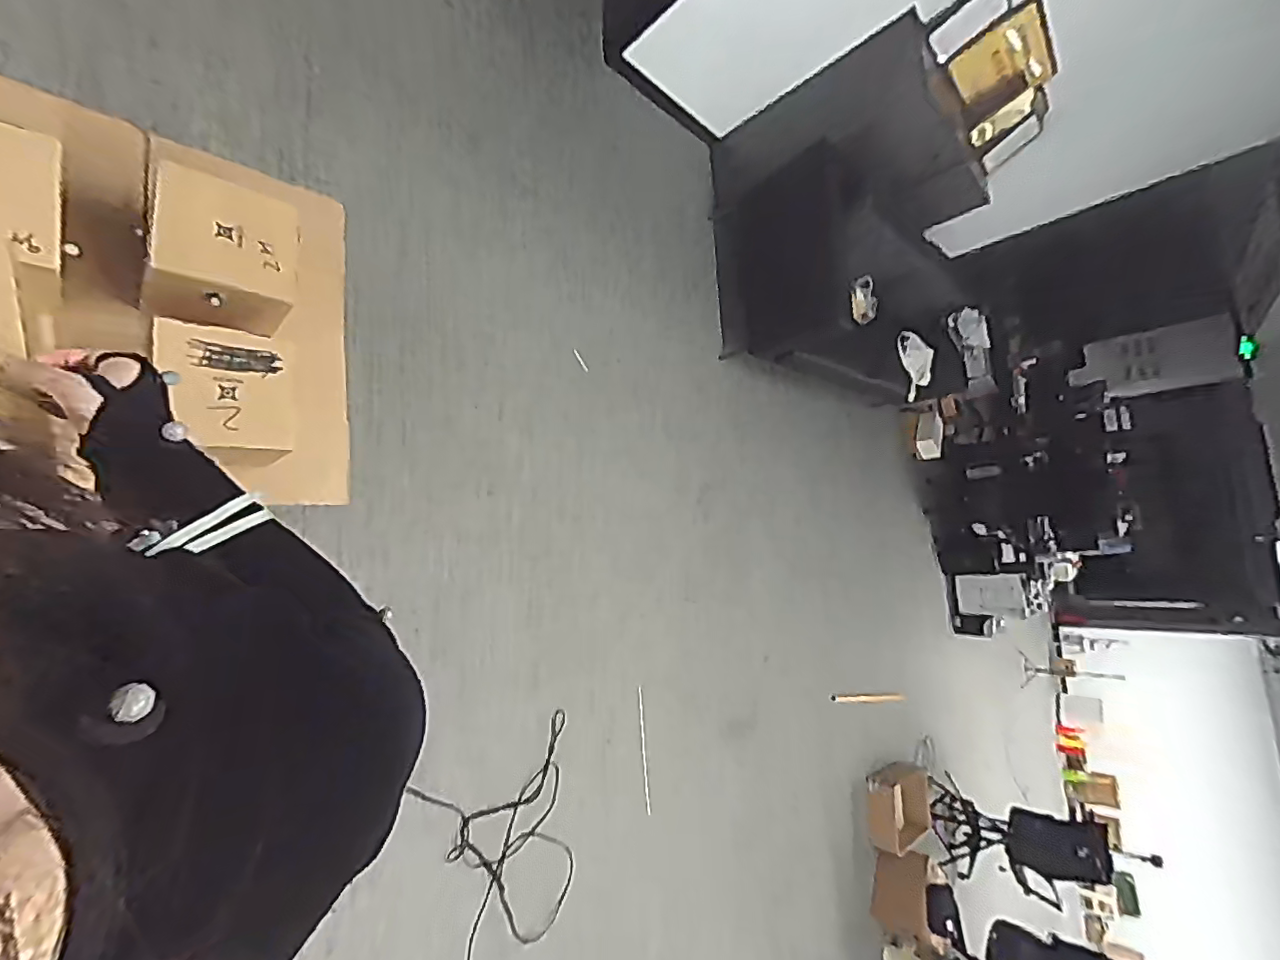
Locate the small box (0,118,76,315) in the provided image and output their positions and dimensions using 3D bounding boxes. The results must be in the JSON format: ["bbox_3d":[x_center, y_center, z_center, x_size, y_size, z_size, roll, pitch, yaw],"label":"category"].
[{"bbox_3d":[-0.823,-0.332,0.669,0.168,0.176,0.179,1,81,-45],"label":"small box"}]

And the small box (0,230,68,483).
[{"bbox_3d":[-0.576,-0.086,0.414,0.168,0.176,0.179,-10,88,-42],"label":"small box"}]
